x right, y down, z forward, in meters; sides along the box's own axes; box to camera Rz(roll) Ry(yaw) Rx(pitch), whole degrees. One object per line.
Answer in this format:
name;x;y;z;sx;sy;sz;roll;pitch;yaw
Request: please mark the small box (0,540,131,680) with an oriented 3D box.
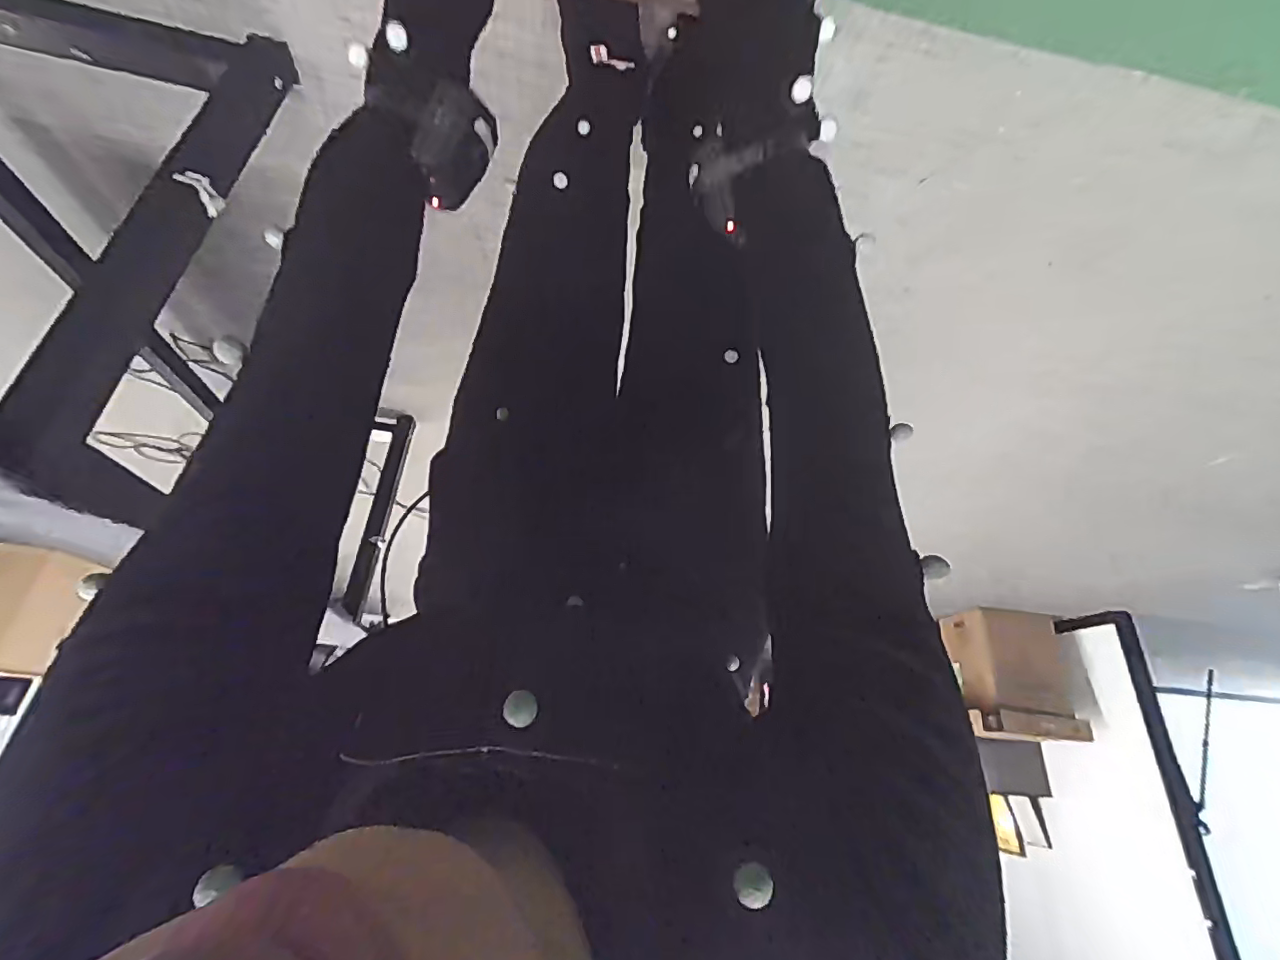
small box;-0.919;0.189;0.792;0.168;0.176;0.179;7;154;-6
